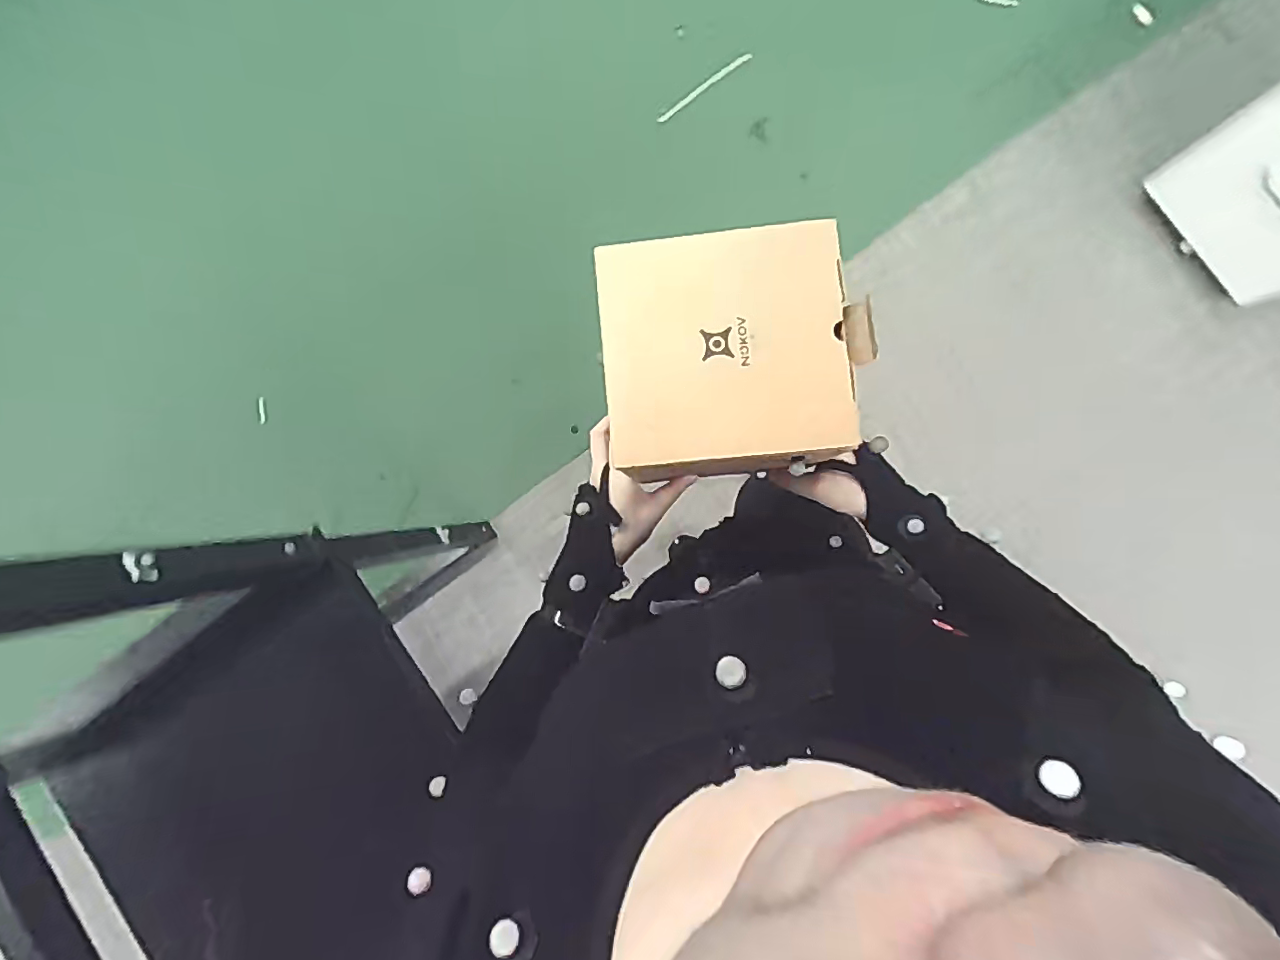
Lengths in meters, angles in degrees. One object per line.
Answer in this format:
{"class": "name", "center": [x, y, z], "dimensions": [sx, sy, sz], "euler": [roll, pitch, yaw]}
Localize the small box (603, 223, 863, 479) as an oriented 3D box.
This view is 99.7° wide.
{"class": "small box", "center": [0.070, -0.092, 0.467], "dimensions": [0.179, 0.176, 0.168], "euler": [-5, 86, 3]}
